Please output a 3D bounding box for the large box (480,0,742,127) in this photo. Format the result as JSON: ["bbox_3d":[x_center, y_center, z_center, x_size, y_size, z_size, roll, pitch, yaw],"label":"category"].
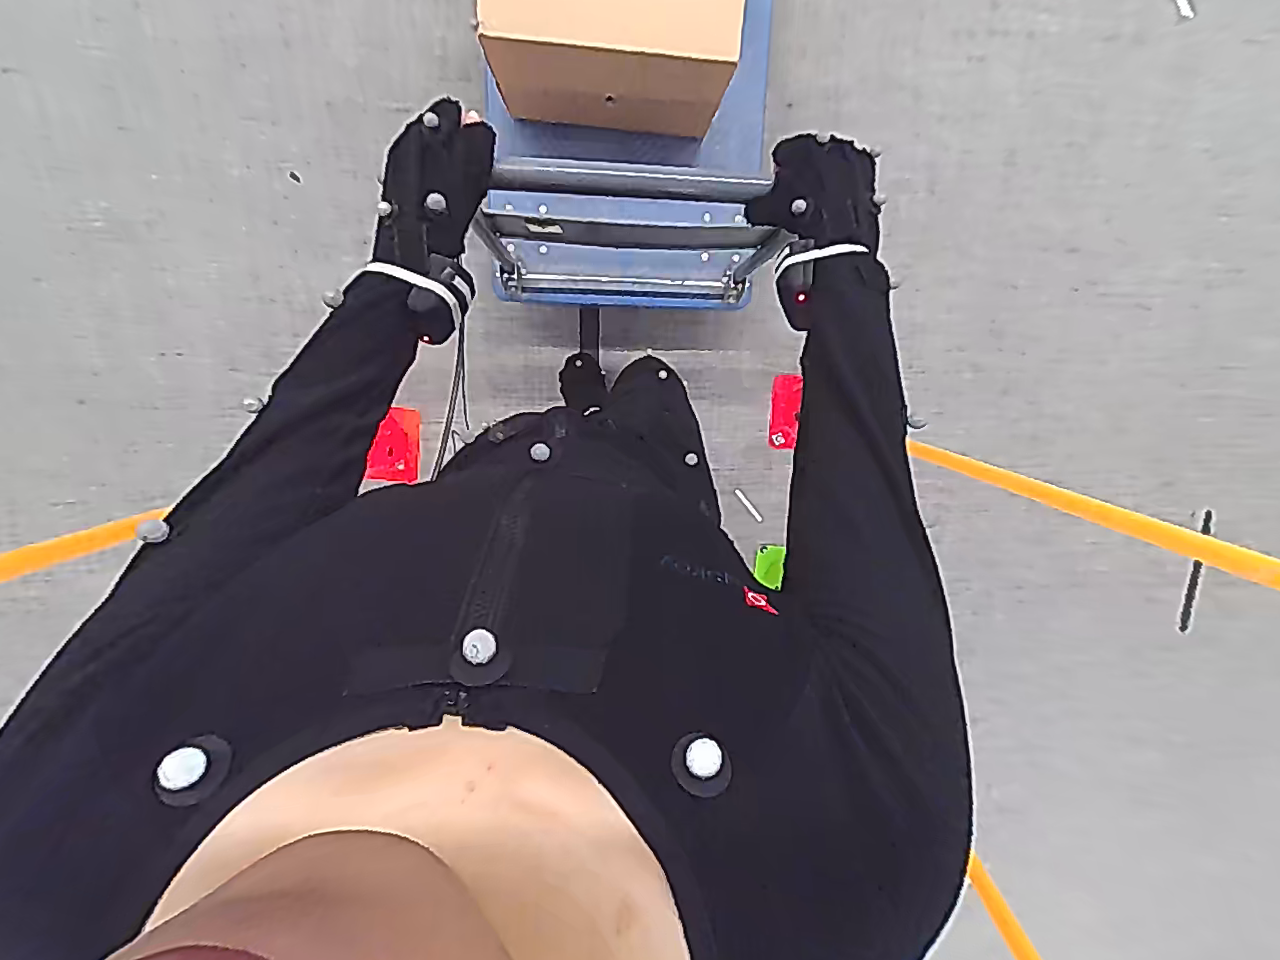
[{"bbox_3d":[-0.042,-0.854,0.944,0.408,0.320,0.320,3,103,-3],"label":"large box"}]

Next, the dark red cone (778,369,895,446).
[{"bbox_3d":[0.475,-0.152,1.266,0.201,0.394,0.202,-1,104,-5],"label":"dark red cone"}]

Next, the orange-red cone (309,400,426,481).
[{"bbox_3d":[-0.656,-0.067,1.249,0.198,0.360,0.199,7,101,-5],"label":"orange-red cone"}]

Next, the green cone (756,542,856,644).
[{"bbox_3d":[0.451,0.316,1.393,0.202,0.368,0.200,3,103,-5],"label":"green cone"}]
